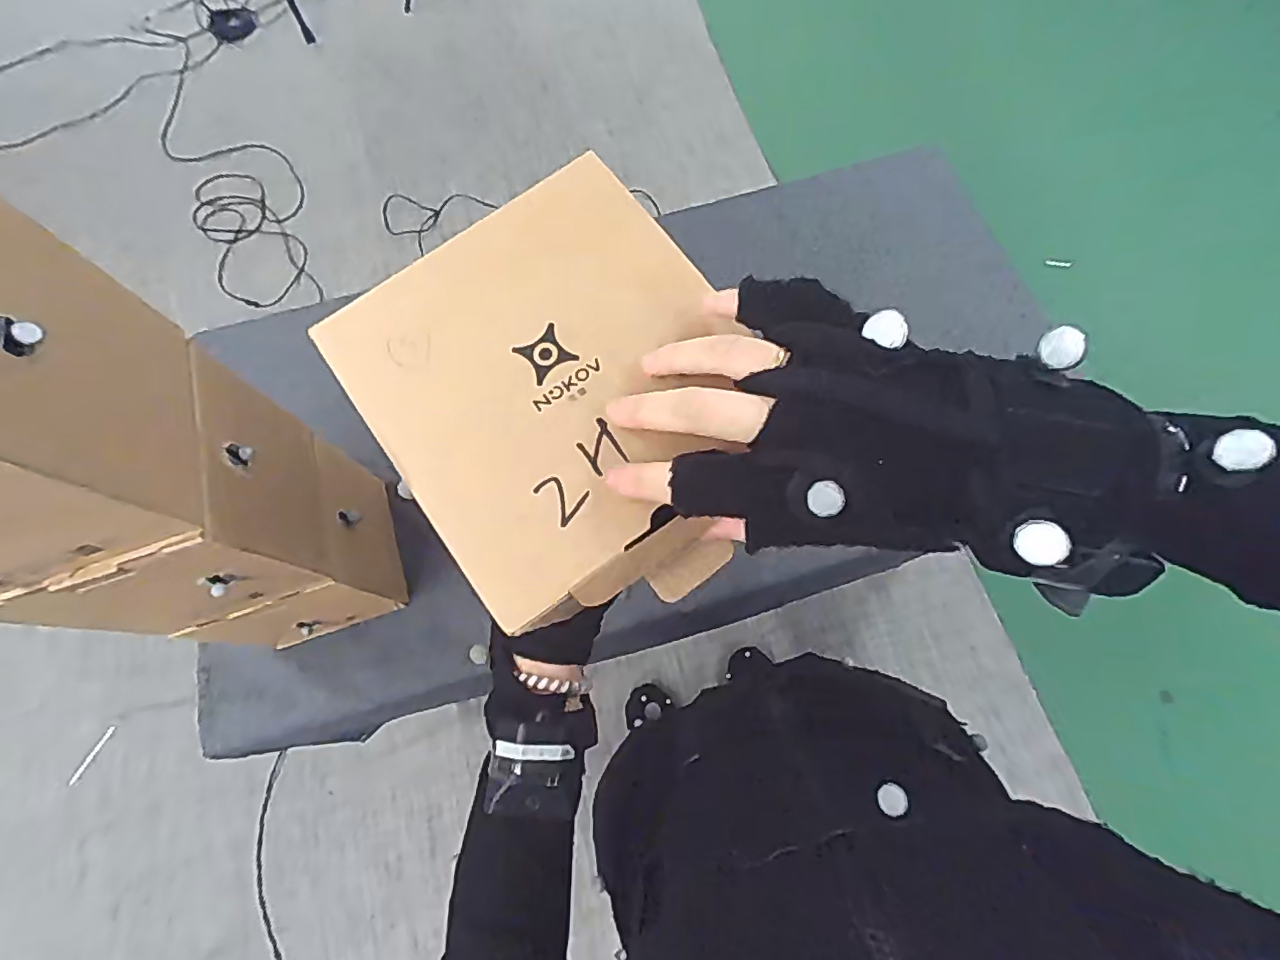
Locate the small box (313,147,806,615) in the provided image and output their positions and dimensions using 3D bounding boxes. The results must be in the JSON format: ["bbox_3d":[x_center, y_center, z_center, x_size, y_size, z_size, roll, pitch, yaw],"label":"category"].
[{"bbox_3d":[-0.039,-0.038,0.325,0.168,0.176,0.179,-36,80,-6],"label":"small box"}]

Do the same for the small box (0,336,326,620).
[{"bbox_3d":[-0.401,0.013,0.468,0.168,0.176,0.179,-18,71,-5],"label":"small box"}]

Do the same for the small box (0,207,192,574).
[{"bbox_3d":[-0.408,-0.049,0.316,0.168,0.176,0.179,-19,71,-6],"label":"small box"}]

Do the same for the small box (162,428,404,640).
[{"bbox_3d":[-0.397,0.070,0.620,0.168,0.176,0.179,-19,71,-5],"label":"small box"}]
